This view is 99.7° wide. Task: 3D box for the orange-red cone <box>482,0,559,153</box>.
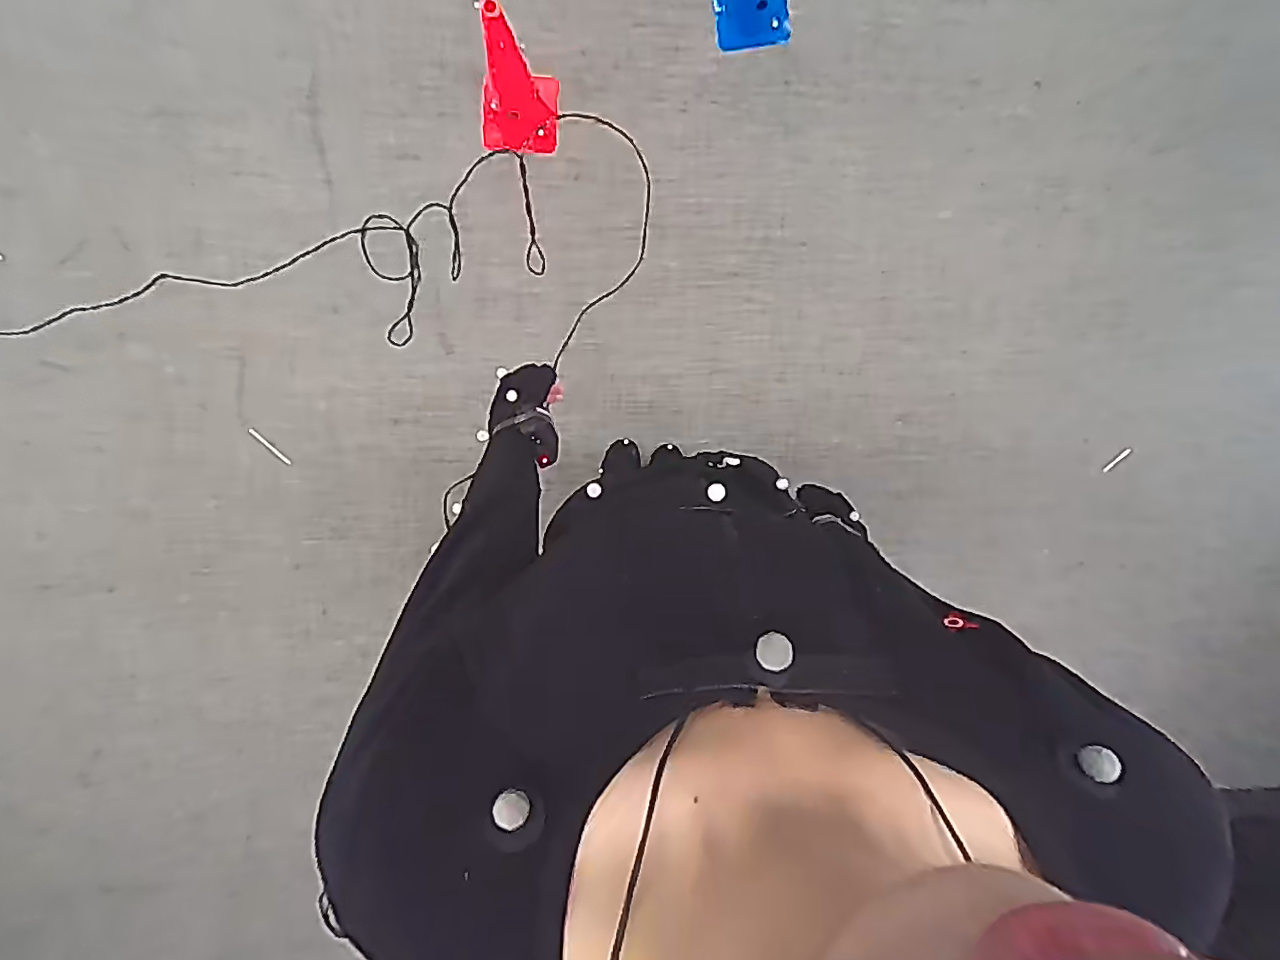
[{"bbox_3d":[-0.311,-0.973,1.268,0.198,0.360,0.199,3,92,-3],"label":"orange-red cone"}]
